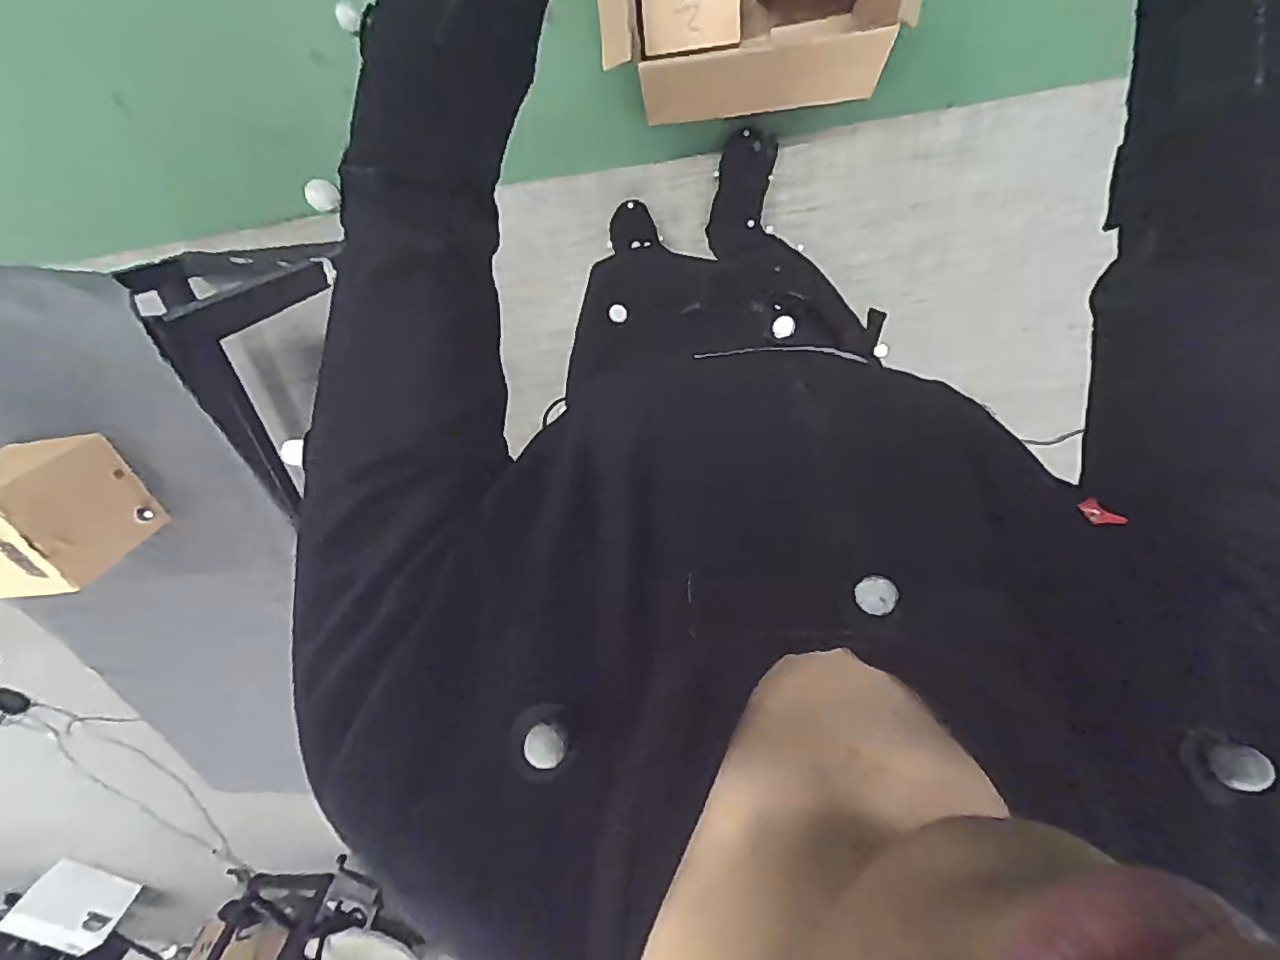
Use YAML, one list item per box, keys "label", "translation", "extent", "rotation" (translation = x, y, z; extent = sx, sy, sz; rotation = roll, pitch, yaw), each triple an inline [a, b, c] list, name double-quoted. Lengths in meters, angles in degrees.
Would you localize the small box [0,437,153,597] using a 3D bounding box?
- label: "small box"
  translation: [-0.873, 0.049, 0.786]
  extent: [0.179, 0.176, 0.168]
  rotation: [-5, 123, 10]
